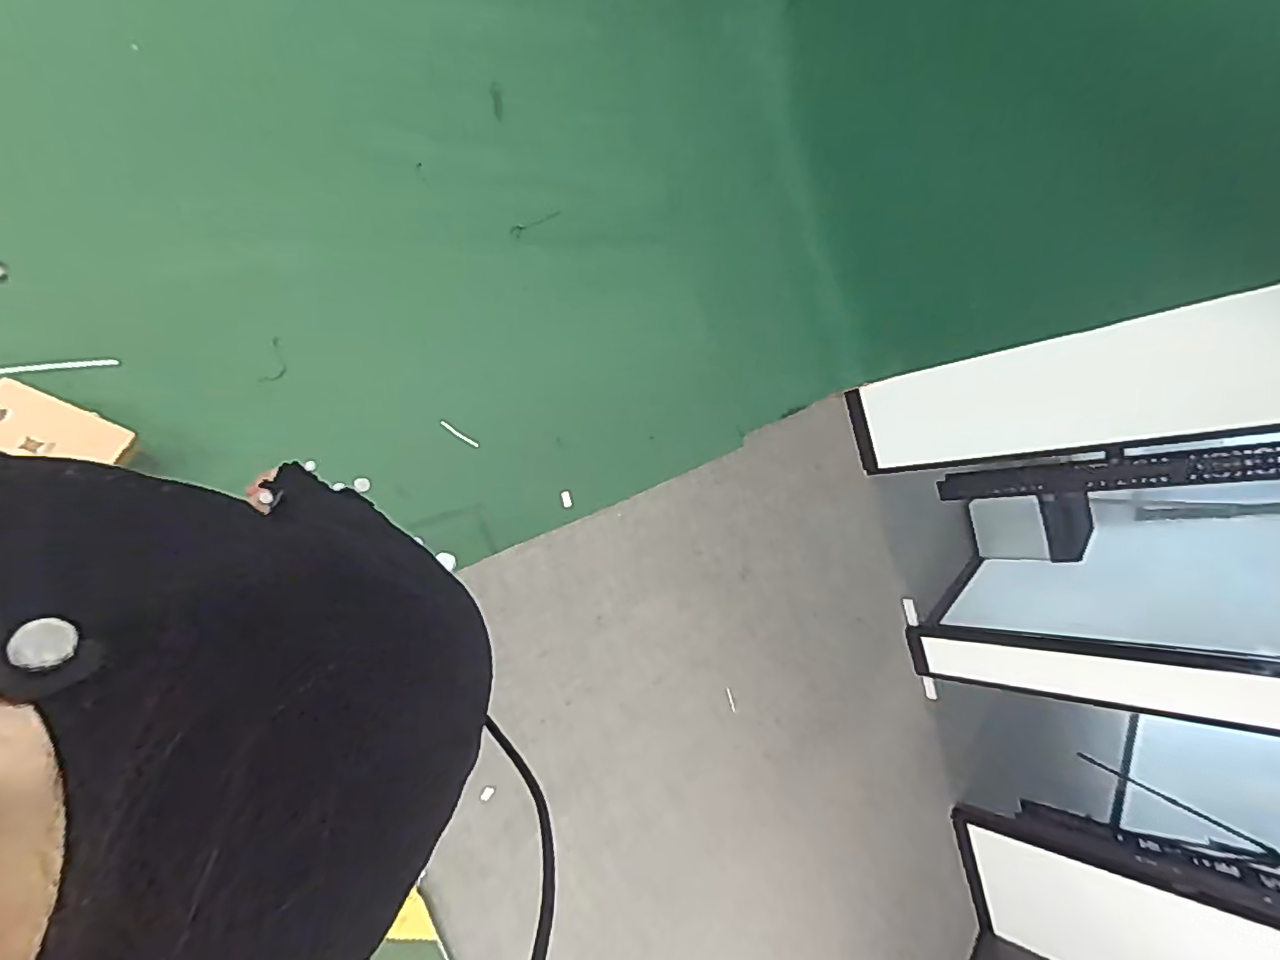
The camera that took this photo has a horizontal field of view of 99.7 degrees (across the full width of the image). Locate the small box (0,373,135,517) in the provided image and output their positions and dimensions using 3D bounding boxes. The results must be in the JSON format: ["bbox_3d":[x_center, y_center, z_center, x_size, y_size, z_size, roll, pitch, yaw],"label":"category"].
[{"bbox_3d":[-0.994,-0.048,0.901,0.179,0.176,0.168,35,63,-34],"label":"small box"}]
